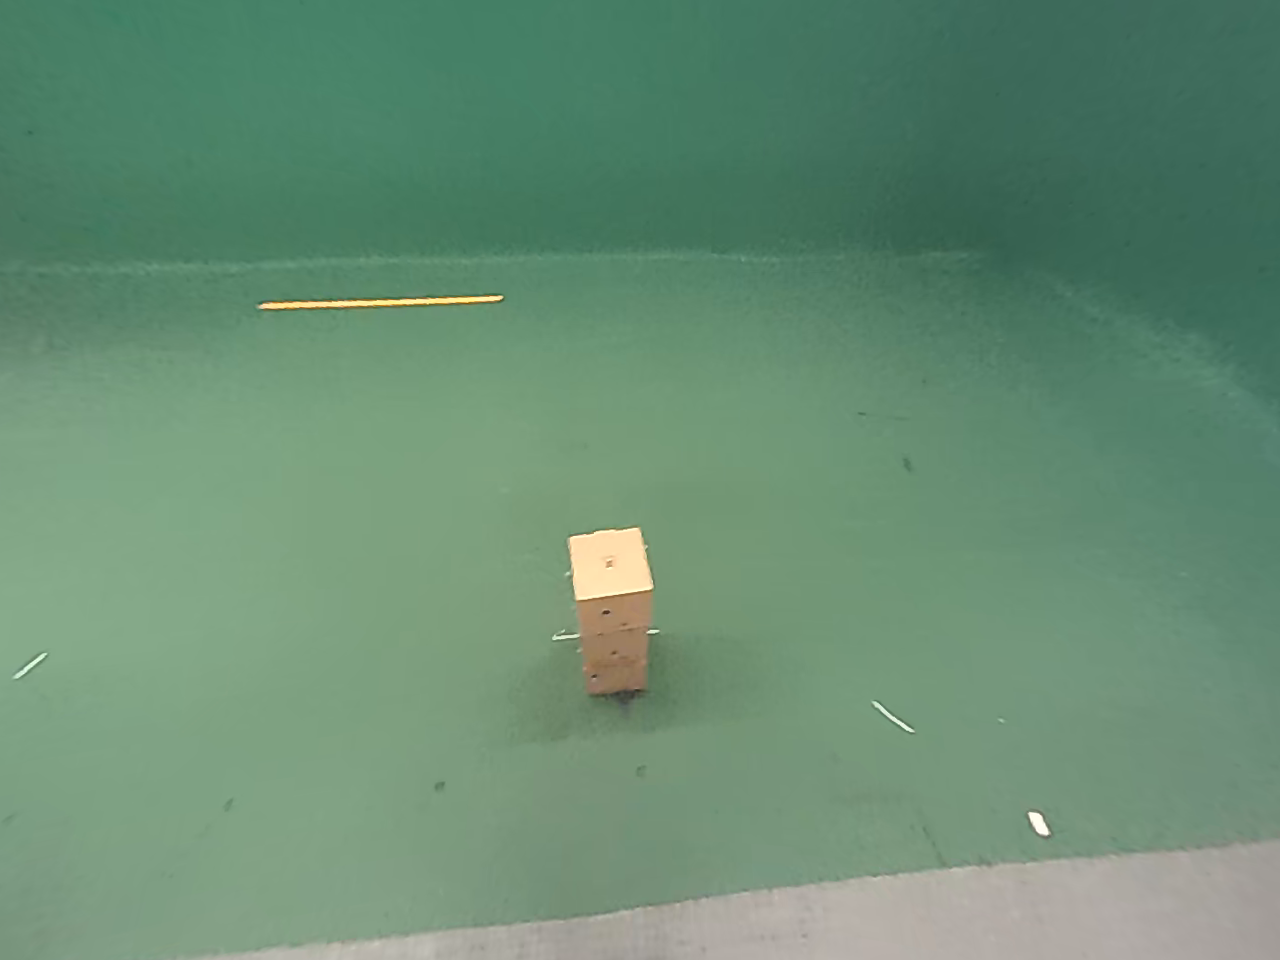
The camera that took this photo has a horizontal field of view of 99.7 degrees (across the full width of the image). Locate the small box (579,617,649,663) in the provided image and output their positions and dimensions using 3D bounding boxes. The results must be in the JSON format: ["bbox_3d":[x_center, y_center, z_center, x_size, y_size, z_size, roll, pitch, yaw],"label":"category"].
[{"bbox_3d":[-0.072,0.347,1.389,0.168,0.176,0.179,-5,47,-5],"label":"small box"}]

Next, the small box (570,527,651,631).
[{"bbox_3d":[-0.068,0.238,1.269,0.168,0.176,0.179,-7,47,-8],"label":"small box"}]
